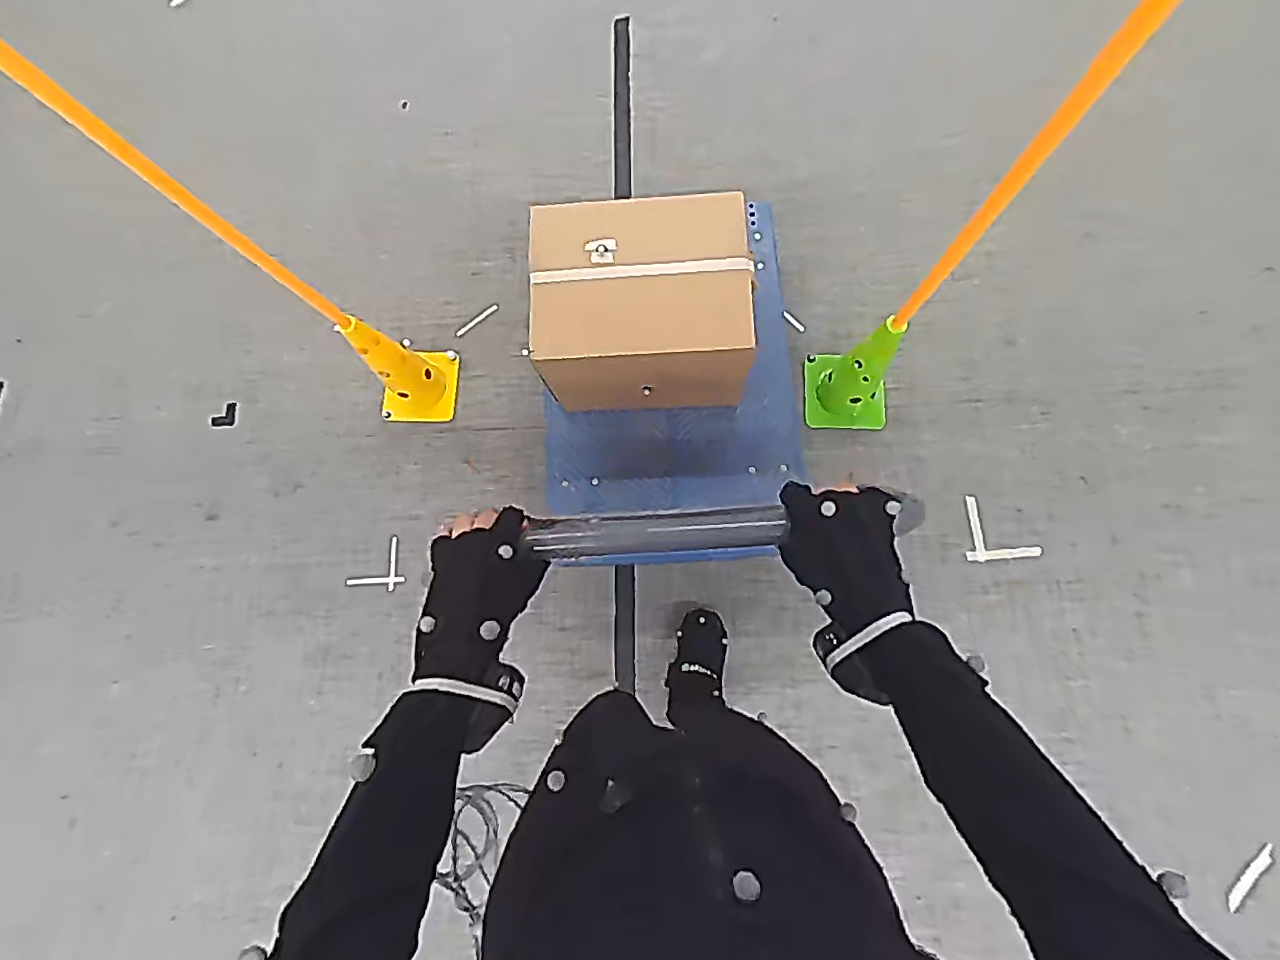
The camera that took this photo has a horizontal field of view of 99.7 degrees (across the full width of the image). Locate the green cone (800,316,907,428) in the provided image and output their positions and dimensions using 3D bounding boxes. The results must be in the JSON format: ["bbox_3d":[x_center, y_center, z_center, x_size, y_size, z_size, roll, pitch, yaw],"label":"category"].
[{"bbox_3d":[0.512,-0.266,1.243,0.202,0.368,0.200,2,78,3],"label":"green cone"}]

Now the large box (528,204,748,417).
[{"bbox_3d":[0.003,-0.332,1.149,0.408,0.320,0.320,-3,79,5],"label":"large box"}]
